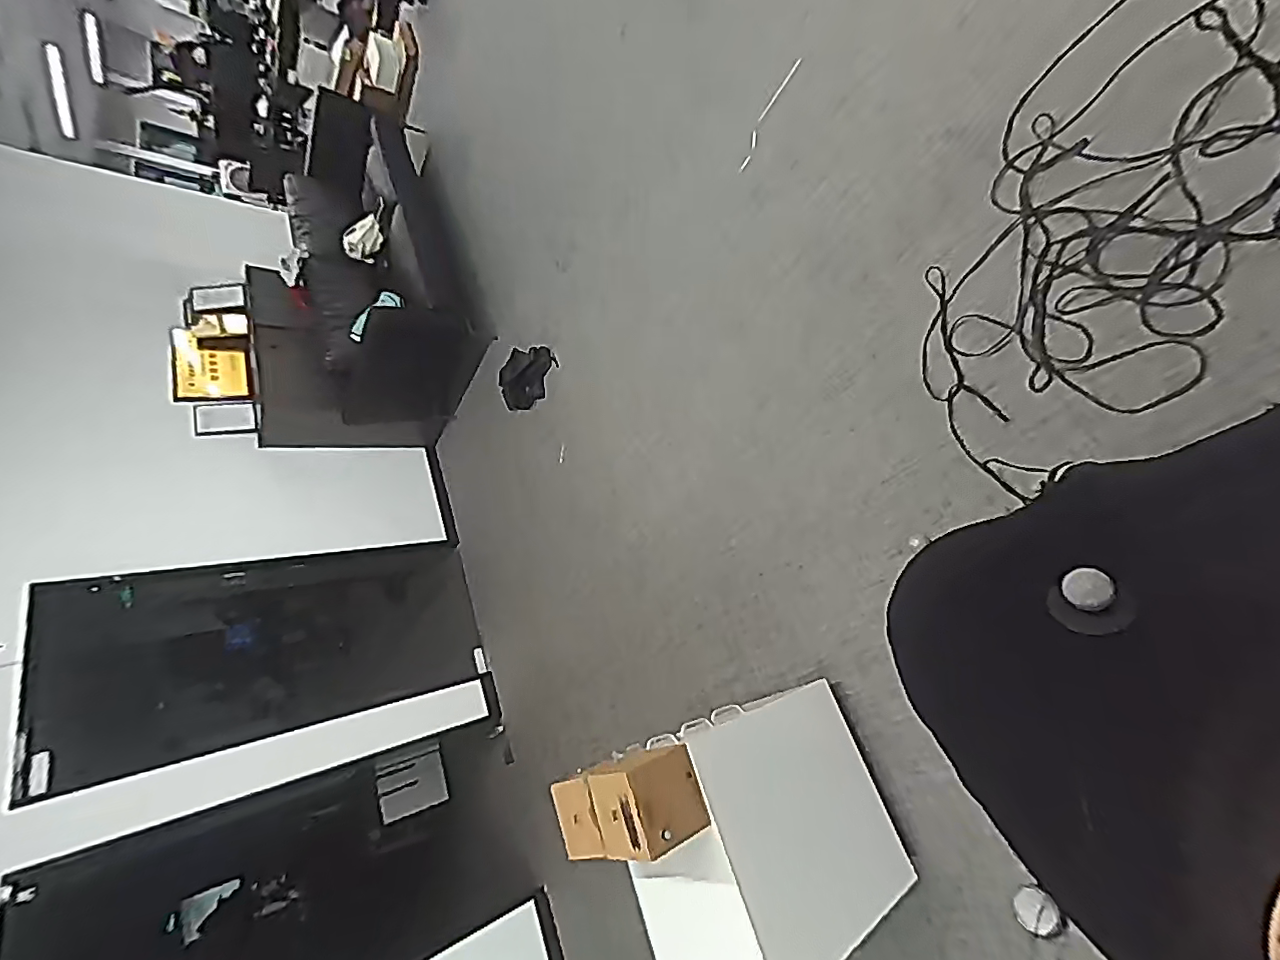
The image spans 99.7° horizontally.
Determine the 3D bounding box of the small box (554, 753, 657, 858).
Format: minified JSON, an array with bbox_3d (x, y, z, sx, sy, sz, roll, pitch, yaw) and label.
[{"bbox_3d":[-0.077,0.777,1.297,0.179,0.176,0.168,-44,58,43],"label":"small box"}]
